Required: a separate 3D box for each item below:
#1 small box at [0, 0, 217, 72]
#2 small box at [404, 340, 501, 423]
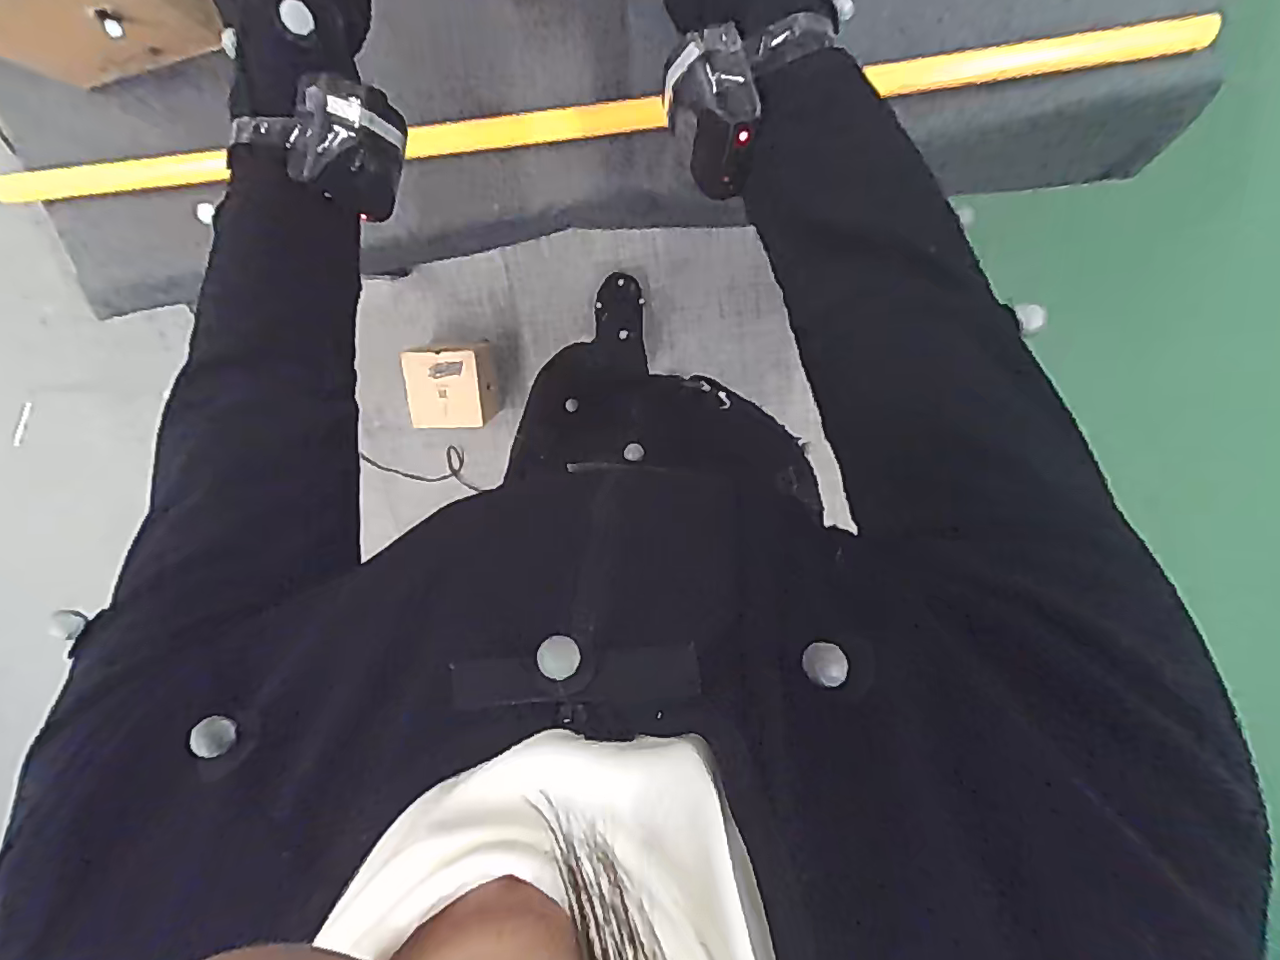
[{"bbox_3d":[-0.499,-0.465,0.432,0.168,0.176,0.179,-13,108,3],"label":"small box"},{"bbox_3d":[-0.438,-0.240,1.289,0.168,0.176,0.179,0,111,1],"label":"small box"}]
